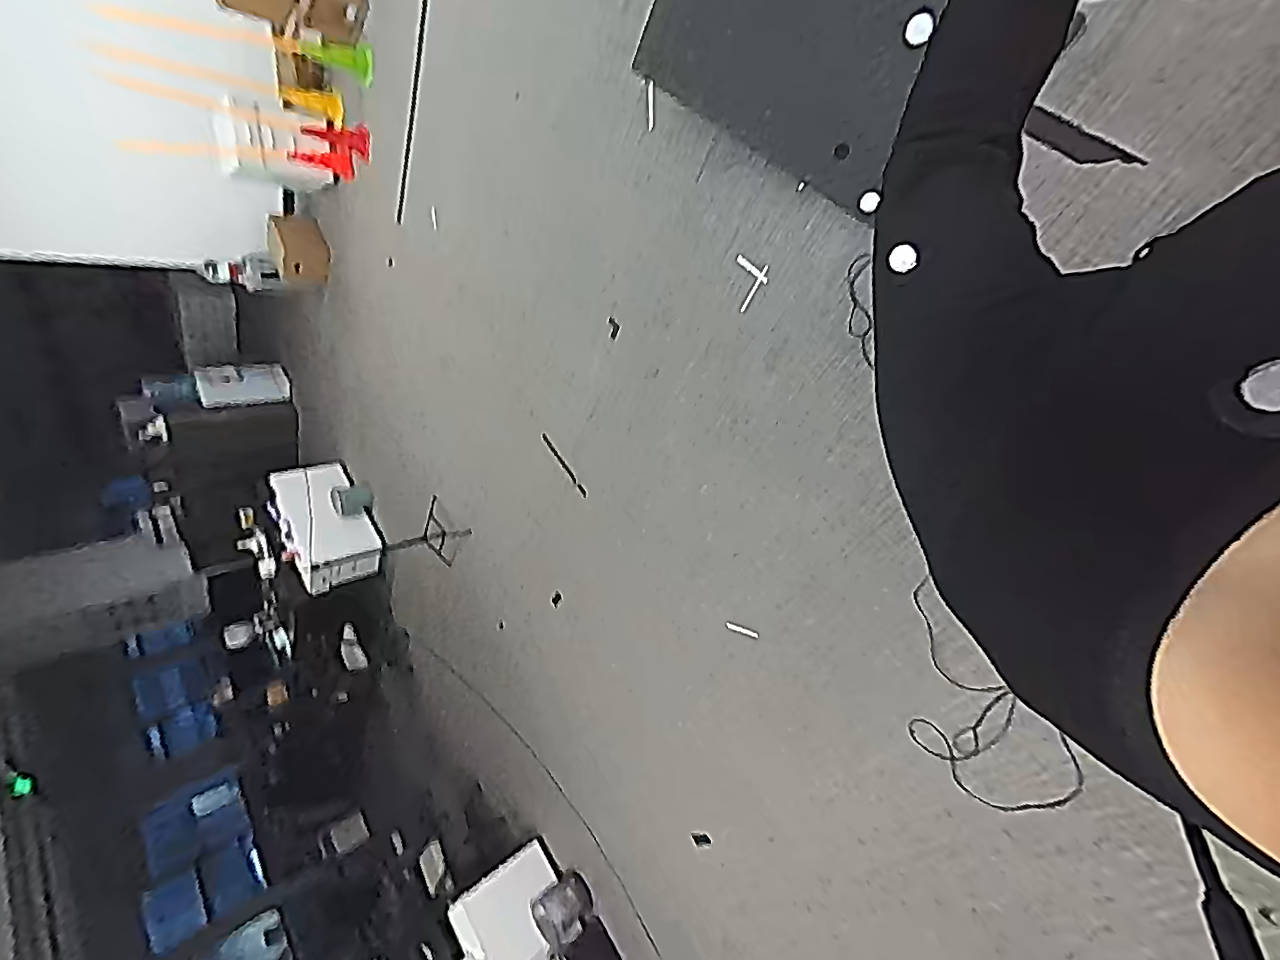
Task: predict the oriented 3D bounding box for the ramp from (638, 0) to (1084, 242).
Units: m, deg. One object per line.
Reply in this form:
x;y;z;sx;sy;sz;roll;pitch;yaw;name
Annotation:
0.438;-1.081;1.337;0.991;0.206;0.509;49;131;25;ramp
